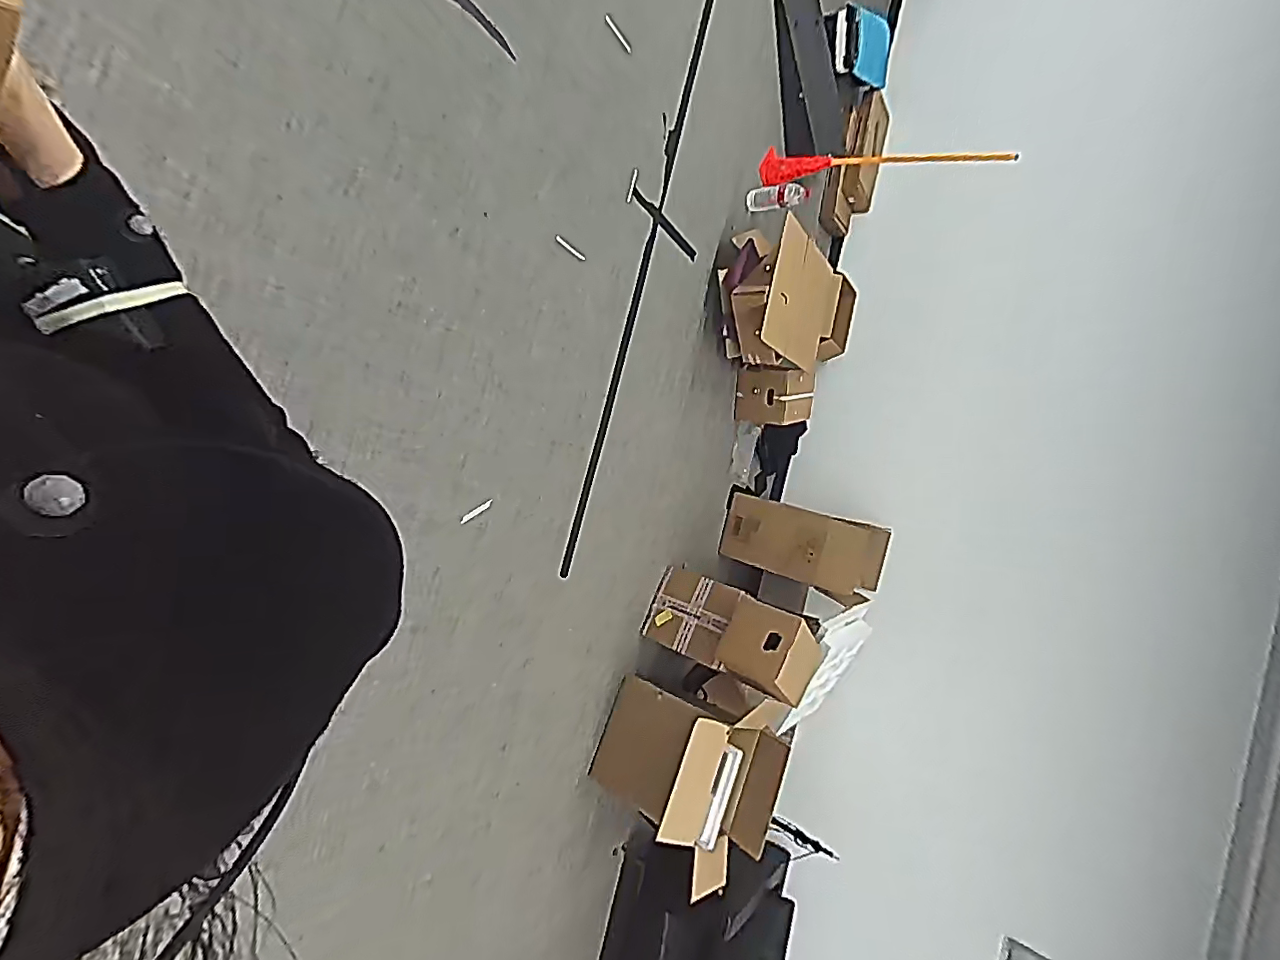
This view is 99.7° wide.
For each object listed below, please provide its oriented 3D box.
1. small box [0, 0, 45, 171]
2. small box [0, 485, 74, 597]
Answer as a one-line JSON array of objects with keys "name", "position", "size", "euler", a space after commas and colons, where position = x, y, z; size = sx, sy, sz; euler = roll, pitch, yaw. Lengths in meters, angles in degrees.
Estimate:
[{"name": "small box", "position": [-0.413, -0.234, 0.220], "size": [0.179, 0.176, 0.168], "euler": [64, 30, -2]}, {"name": "small box", "position": [-1.145, 0.105, 0.956], "size": [0.179, 0.176, 0.168], "euler": [-3, 103, -54]}]
